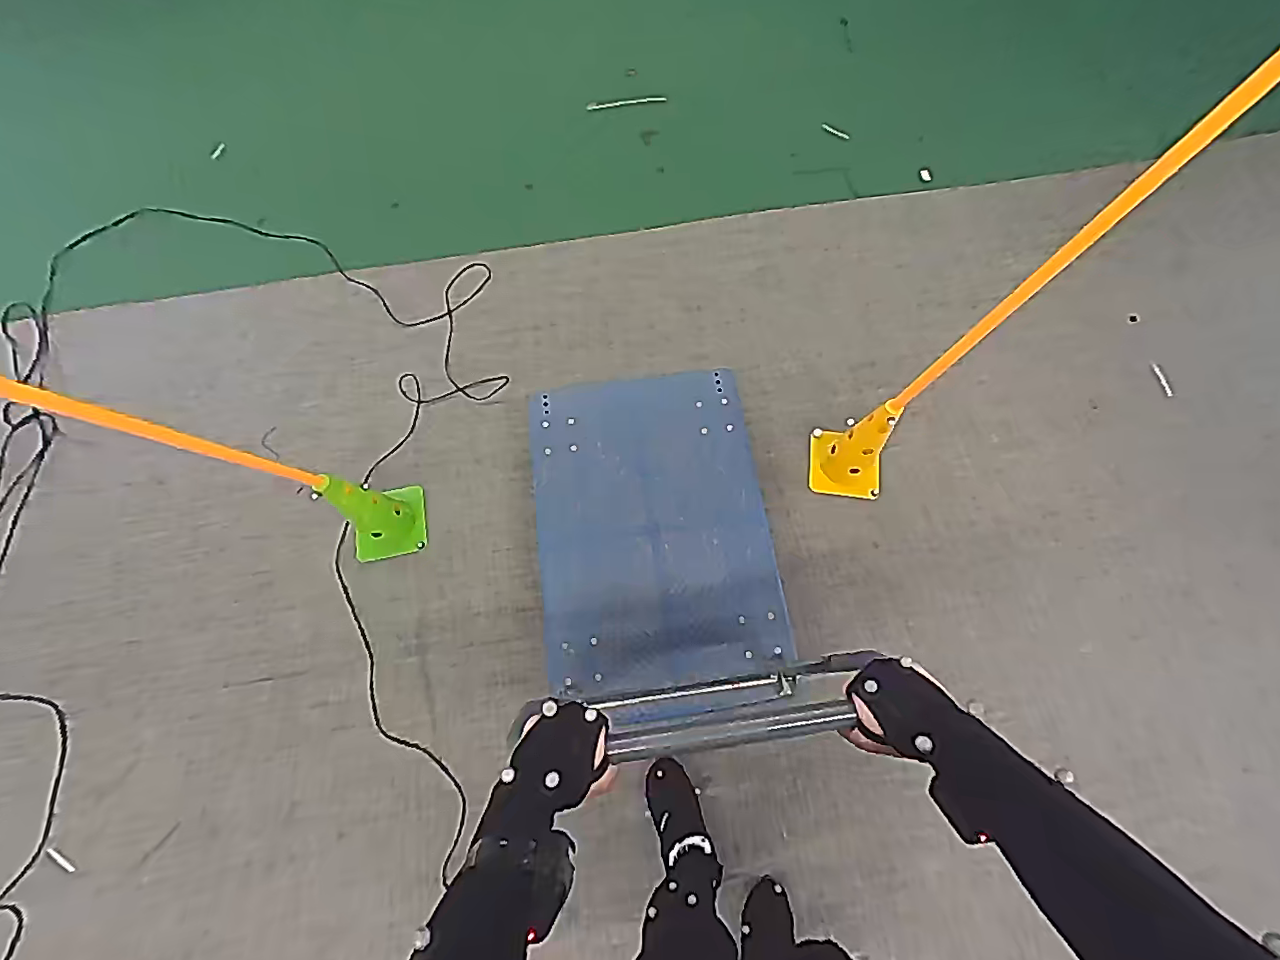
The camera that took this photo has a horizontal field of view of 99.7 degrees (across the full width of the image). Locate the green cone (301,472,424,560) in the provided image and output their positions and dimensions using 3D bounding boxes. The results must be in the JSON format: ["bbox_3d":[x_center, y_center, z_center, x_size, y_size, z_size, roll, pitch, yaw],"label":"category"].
[{"bbox_3d":[-0.728,0.057,1.382,0.202,0.368,0.200,-13,70,-2],"label":"green cone"}]
